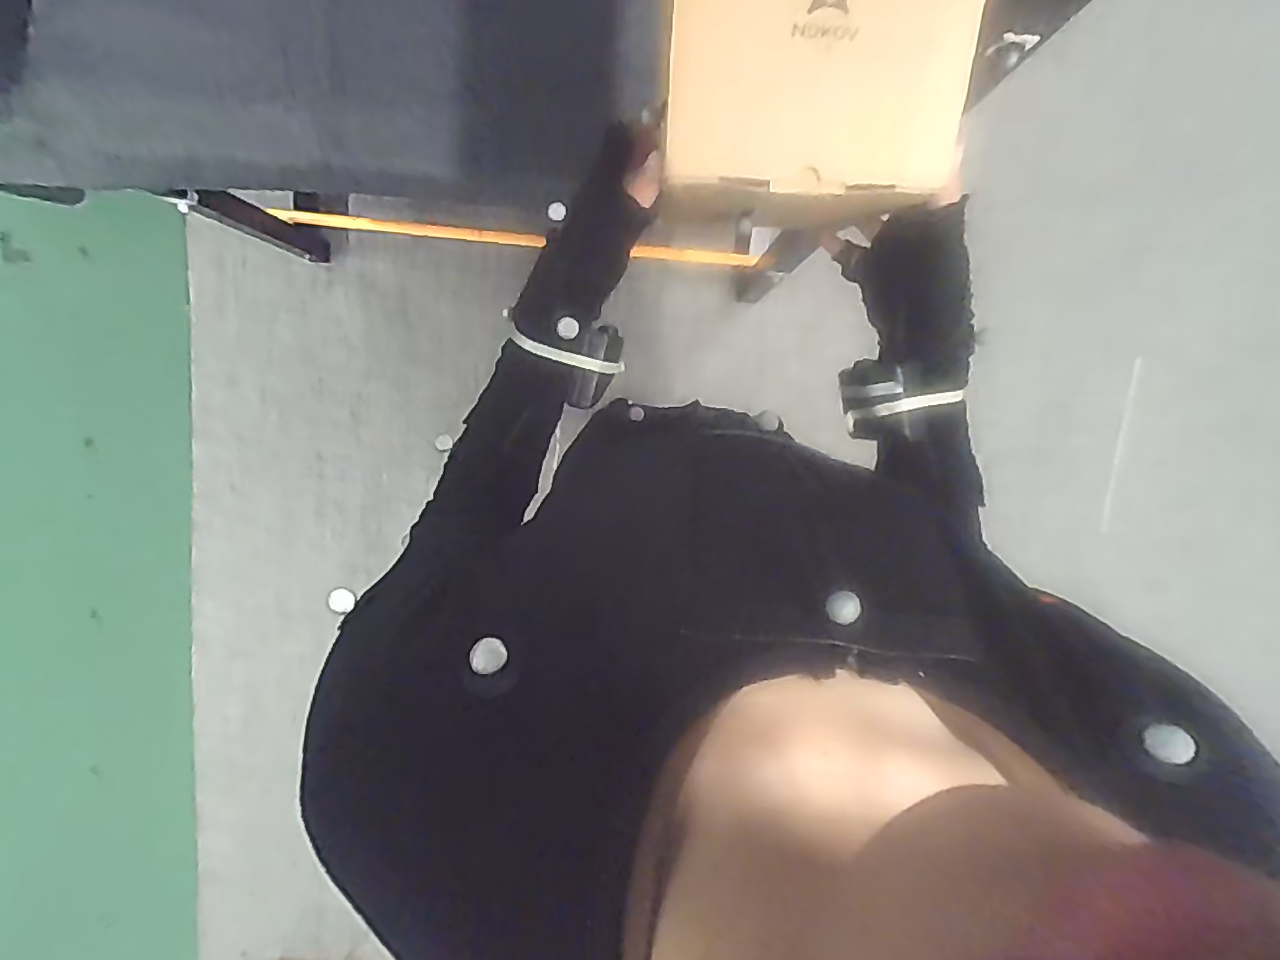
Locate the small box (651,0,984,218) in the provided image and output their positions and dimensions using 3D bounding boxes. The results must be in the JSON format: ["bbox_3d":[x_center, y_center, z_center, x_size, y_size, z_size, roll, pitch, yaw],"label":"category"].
[{"bbox_3d":[0.095,-0.281,0.352,0.168,0.176,0.179,2,110,-1],"label":"small box"}]
